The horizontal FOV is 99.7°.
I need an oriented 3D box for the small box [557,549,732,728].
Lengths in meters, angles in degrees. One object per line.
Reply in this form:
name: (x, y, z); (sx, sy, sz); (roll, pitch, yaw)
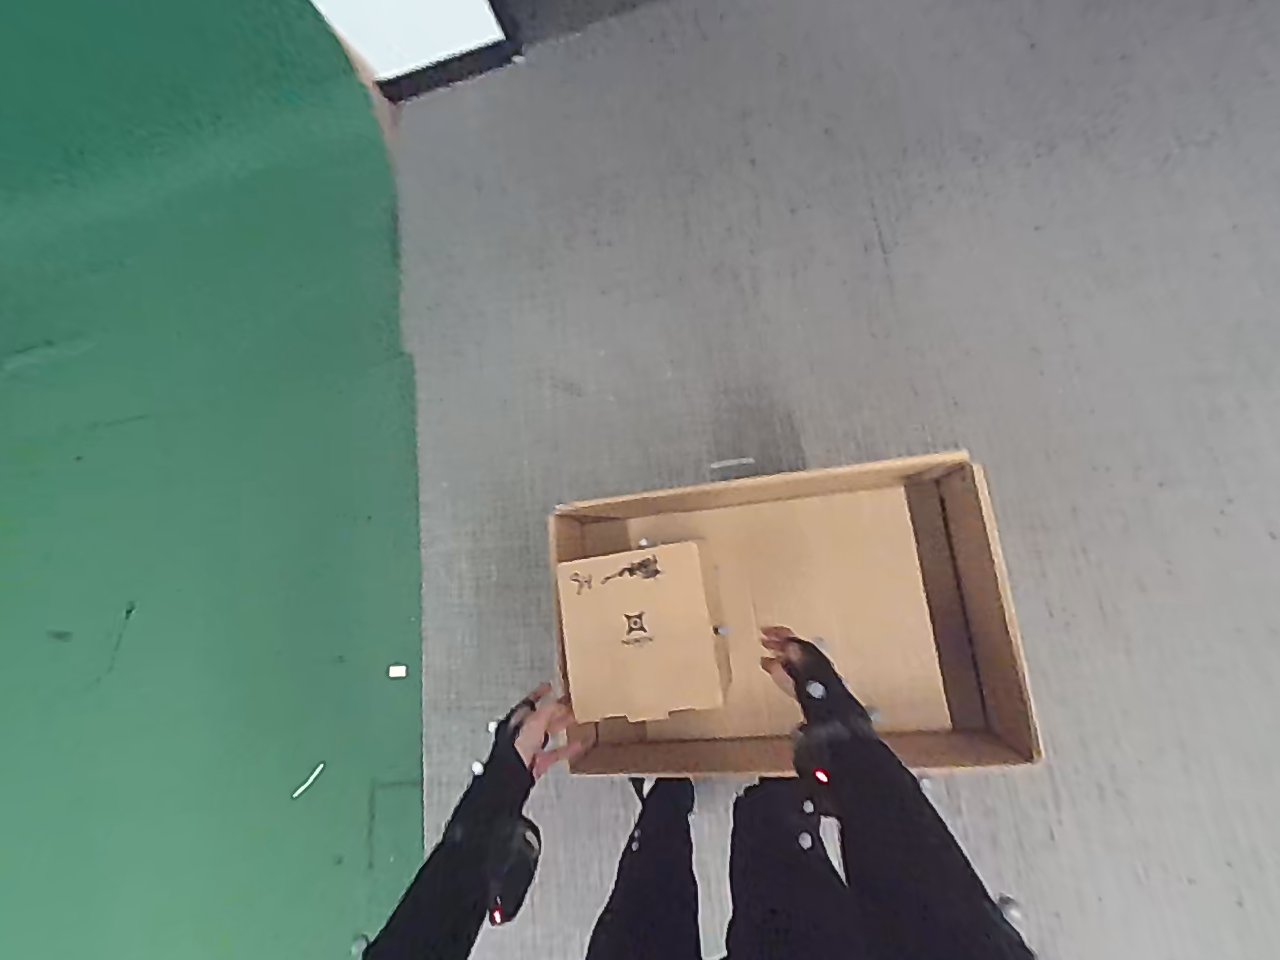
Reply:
small box: (0.014, 0.183, 0.658); (0.168, 0.176, 0.179); (-10, 78, 11)

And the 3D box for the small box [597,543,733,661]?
small box: (0.042, 0.199, 0.820); (0.168, 0.176, 0.179); (-11, 78, 12)
